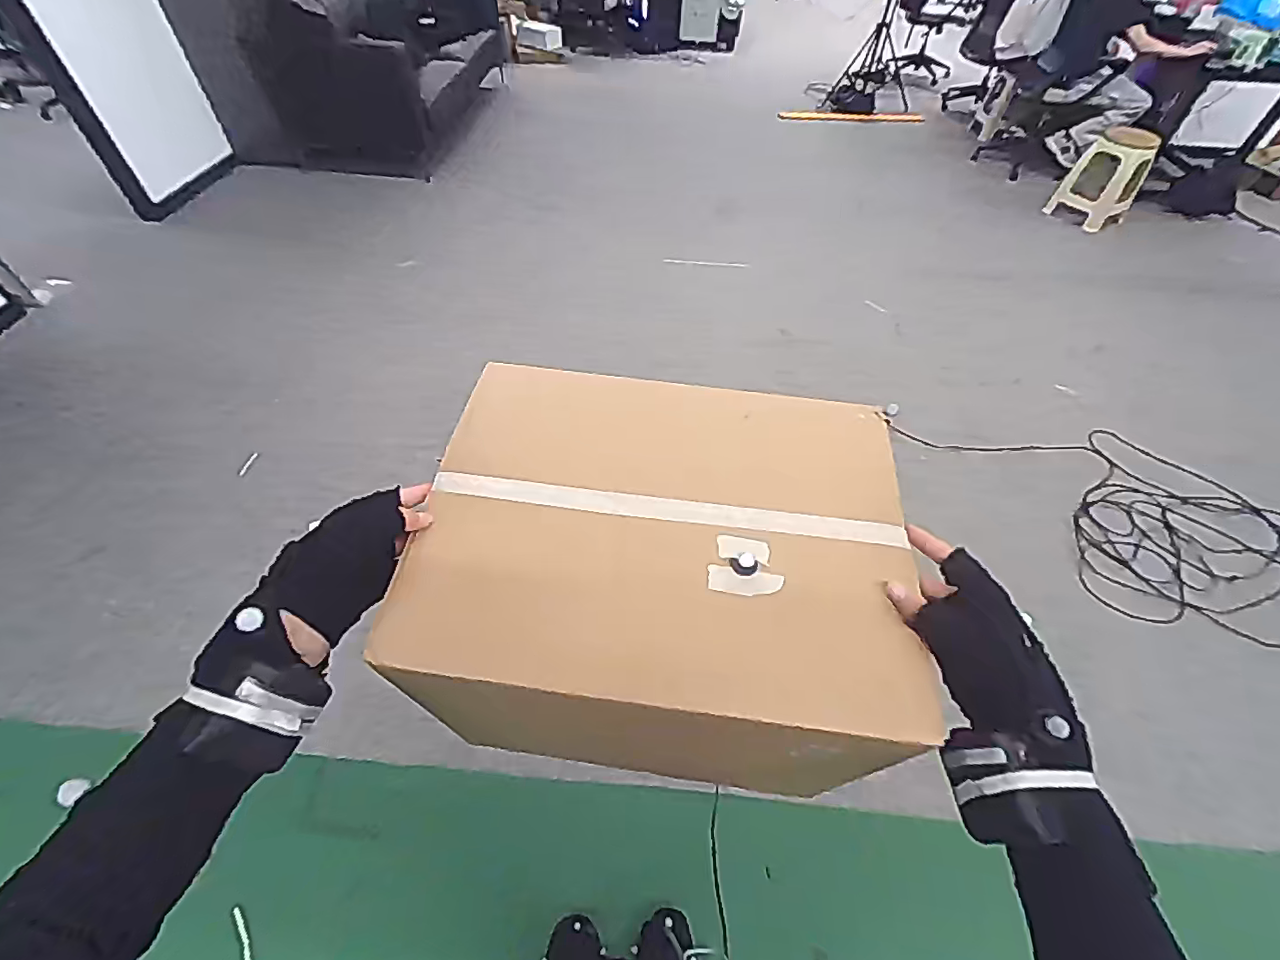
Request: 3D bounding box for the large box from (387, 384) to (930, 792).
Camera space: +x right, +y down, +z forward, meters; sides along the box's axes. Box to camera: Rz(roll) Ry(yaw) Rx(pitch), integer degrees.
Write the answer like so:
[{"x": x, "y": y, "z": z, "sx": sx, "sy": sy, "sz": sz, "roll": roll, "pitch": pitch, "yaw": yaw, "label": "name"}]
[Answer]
[{"x": 0.020, "y": 0.126, "z": 0.594, "sx": 0.408, "sy": 0.320, "sz": 0.320, "roll": 7, "pitch": 55, "yaw": 3, "label": "large box"}]
